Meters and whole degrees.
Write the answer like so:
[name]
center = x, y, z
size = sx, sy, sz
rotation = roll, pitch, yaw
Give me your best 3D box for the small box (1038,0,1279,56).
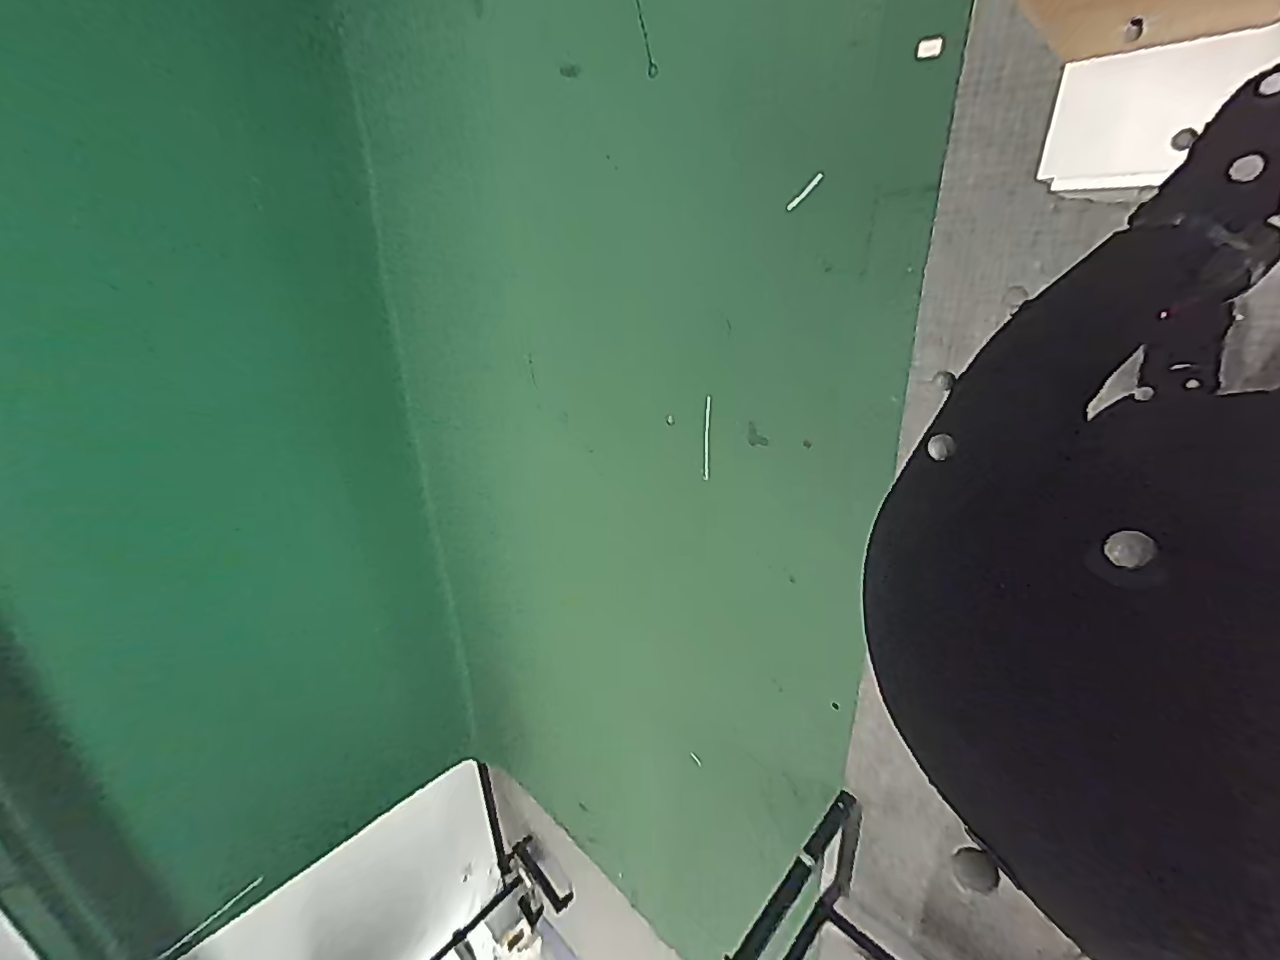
[small box]
center = 0.502, -0.521, 0.493
size = 0.179, 0.176, 0.168
rotation = 18, 119, 38
